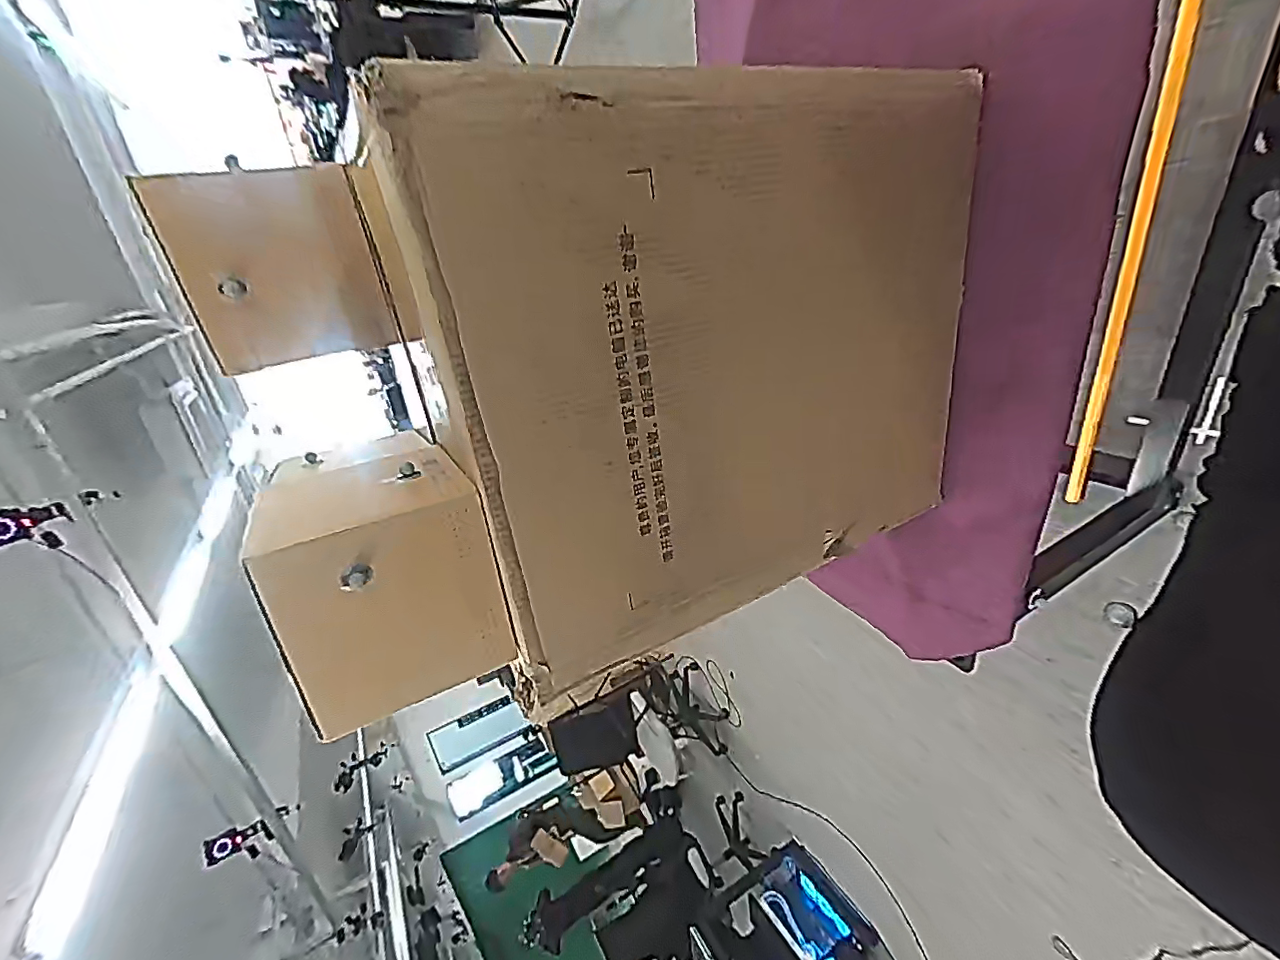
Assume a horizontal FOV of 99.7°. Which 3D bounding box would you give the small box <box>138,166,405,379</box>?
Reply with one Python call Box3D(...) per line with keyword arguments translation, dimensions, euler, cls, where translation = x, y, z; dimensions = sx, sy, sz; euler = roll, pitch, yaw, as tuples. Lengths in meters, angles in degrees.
Box3D(translation=(-0.374, -0.229, 0.577), dimensions=(0.168, 0.176, 0.179), euler=(38, 142, 51), cls="small box")
